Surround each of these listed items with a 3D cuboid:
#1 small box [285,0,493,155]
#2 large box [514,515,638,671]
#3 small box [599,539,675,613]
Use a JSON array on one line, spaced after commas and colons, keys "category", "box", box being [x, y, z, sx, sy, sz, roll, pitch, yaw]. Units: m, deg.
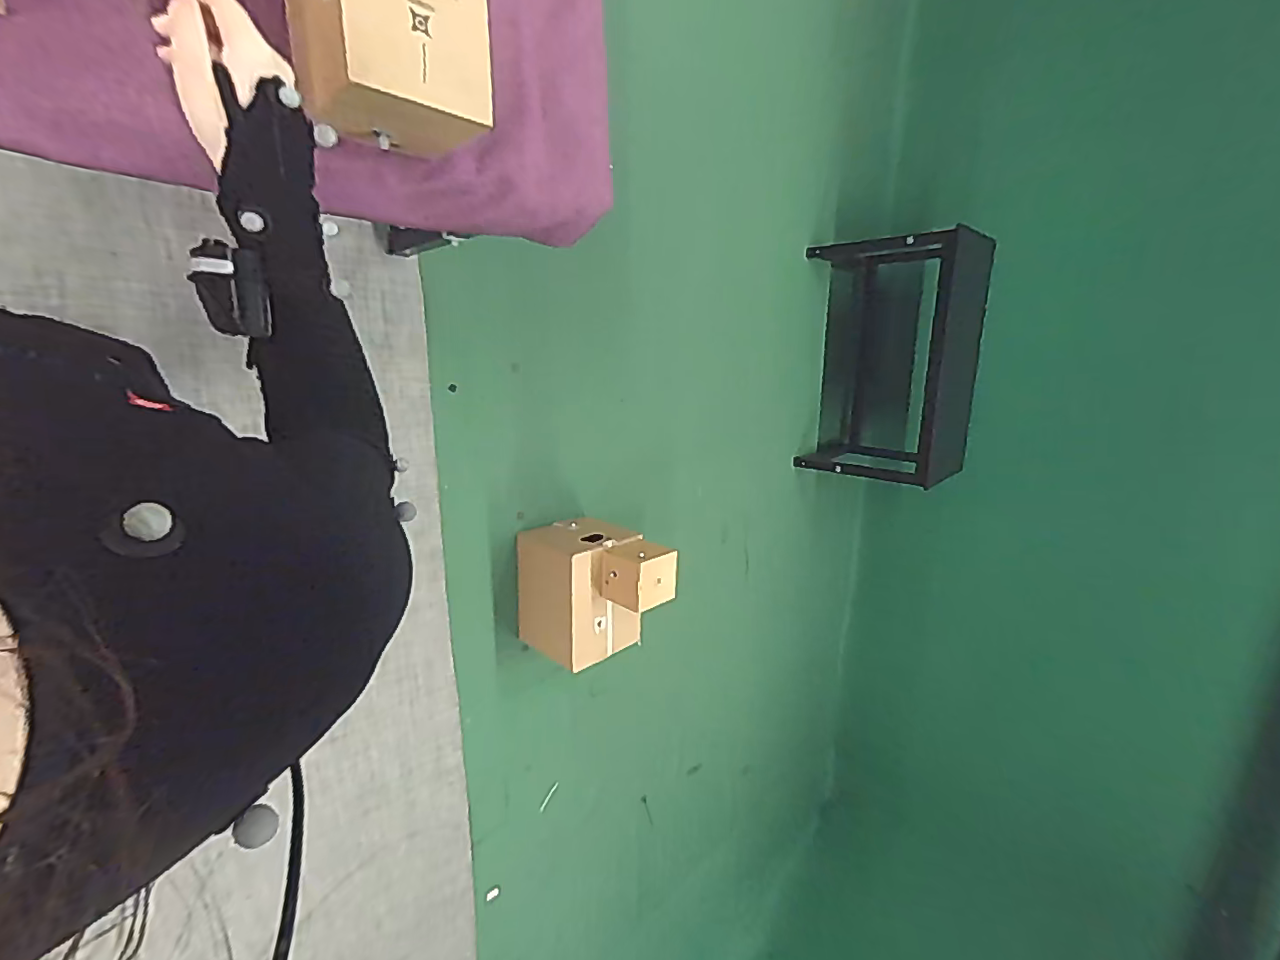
[{"category": "small box", "box": [-0.289, -0.507, 0.621, 0.168, 0.176, 0.179, -13, 109, -44]}, {"category": "large box", "box": [-0.222, 0.370, 1.883, 0.320, 0.320, 0.408, -11, 108, -44]}, {"category": "small box", "box": [-0.010, 0.300, 1.731, 0.179, 0.176, 0.168, -11, 108, -45]}]
